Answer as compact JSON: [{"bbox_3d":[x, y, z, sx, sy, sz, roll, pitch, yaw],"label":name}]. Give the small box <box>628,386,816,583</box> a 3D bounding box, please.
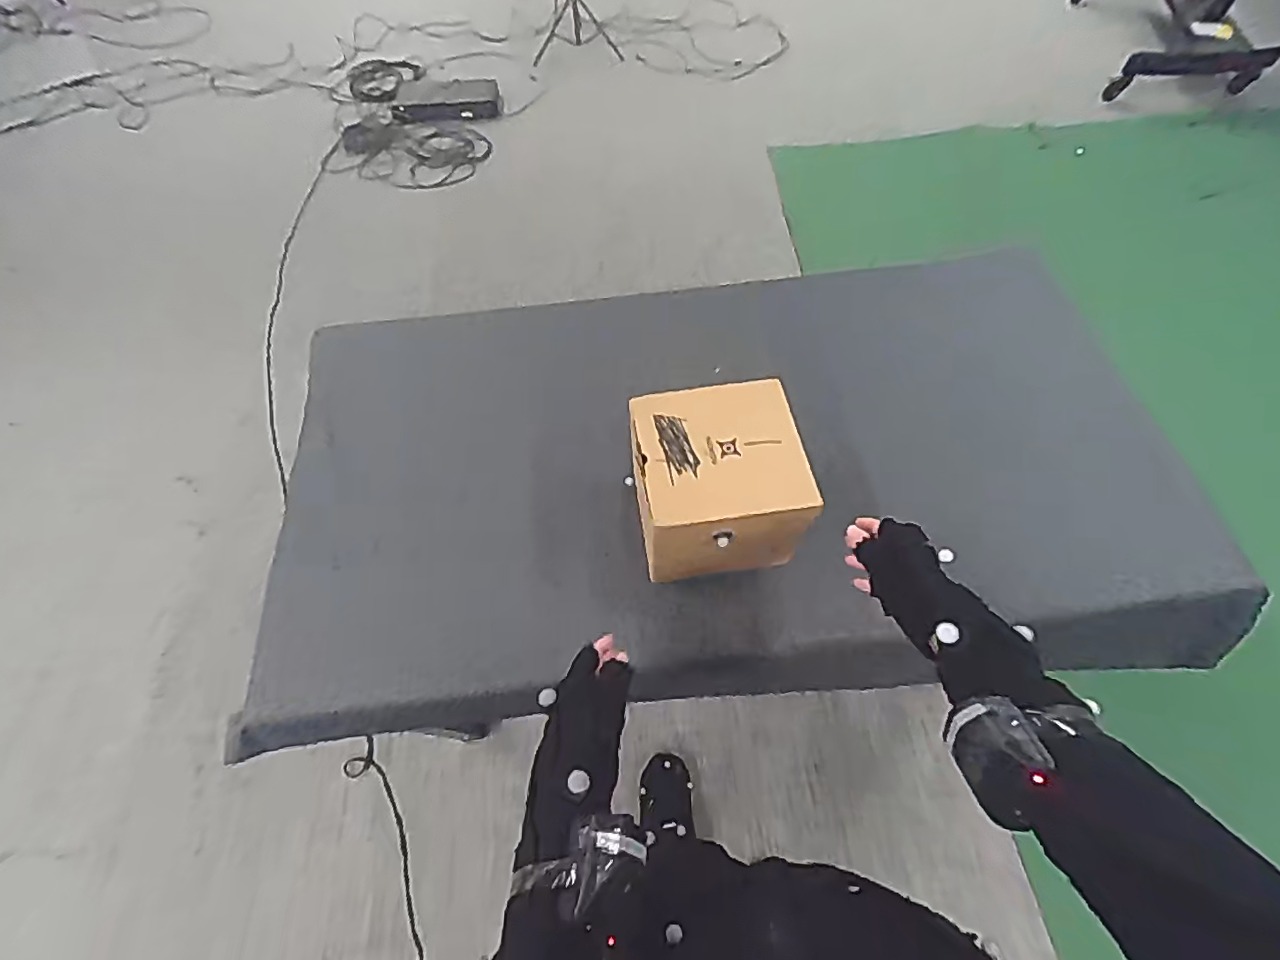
[{"bbox_3d":[0.085,0.013,0.644,0.179,0.176,0.168,-7,61,-2],"label":"small box"}]
